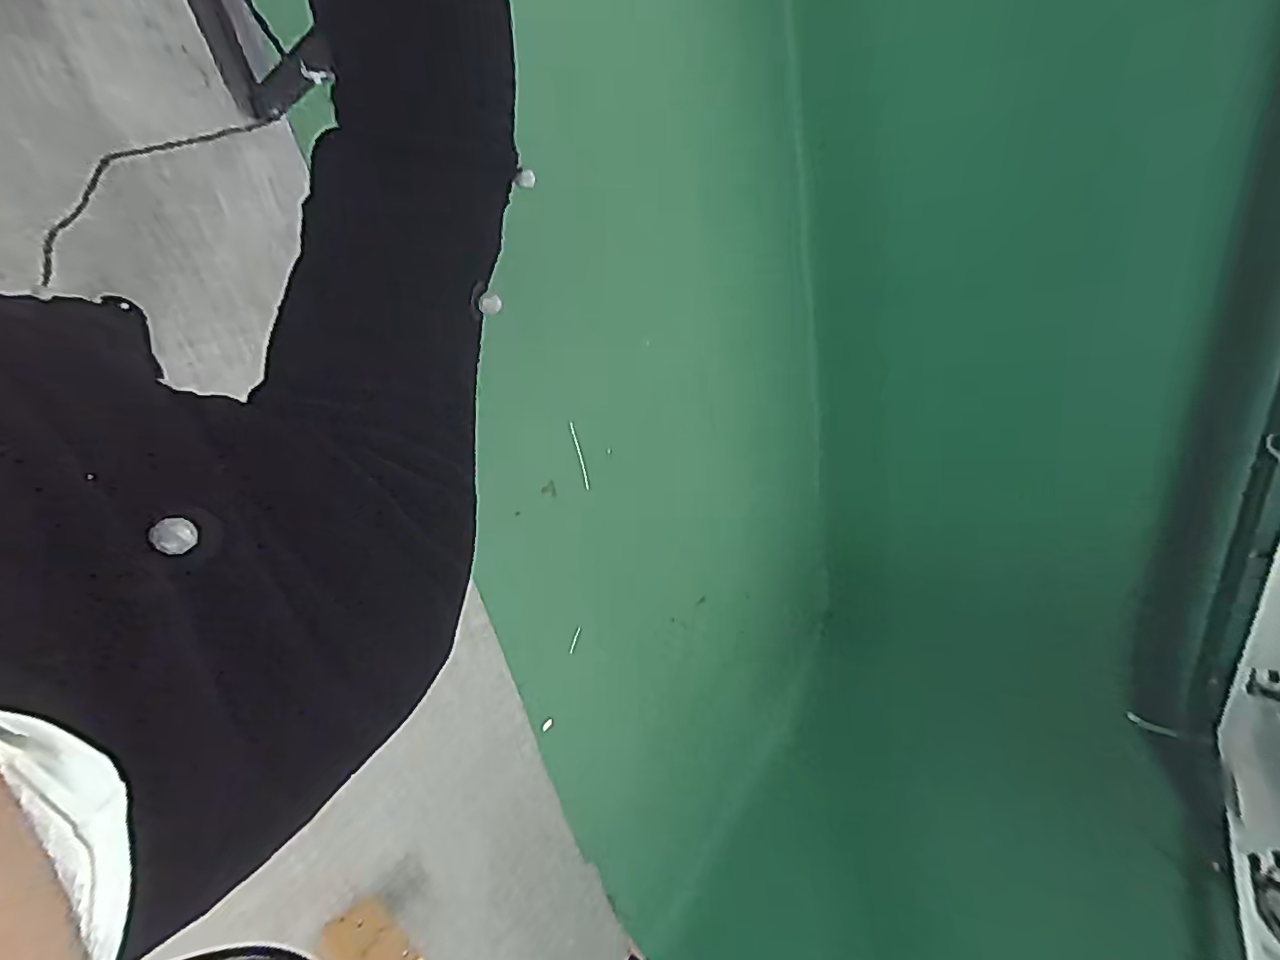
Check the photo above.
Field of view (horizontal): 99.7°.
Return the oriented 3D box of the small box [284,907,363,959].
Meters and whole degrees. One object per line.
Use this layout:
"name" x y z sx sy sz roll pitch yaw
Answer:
"small box" -0.978 1.475 1.670 0.168 0.176 0.179 -8 105 -51
